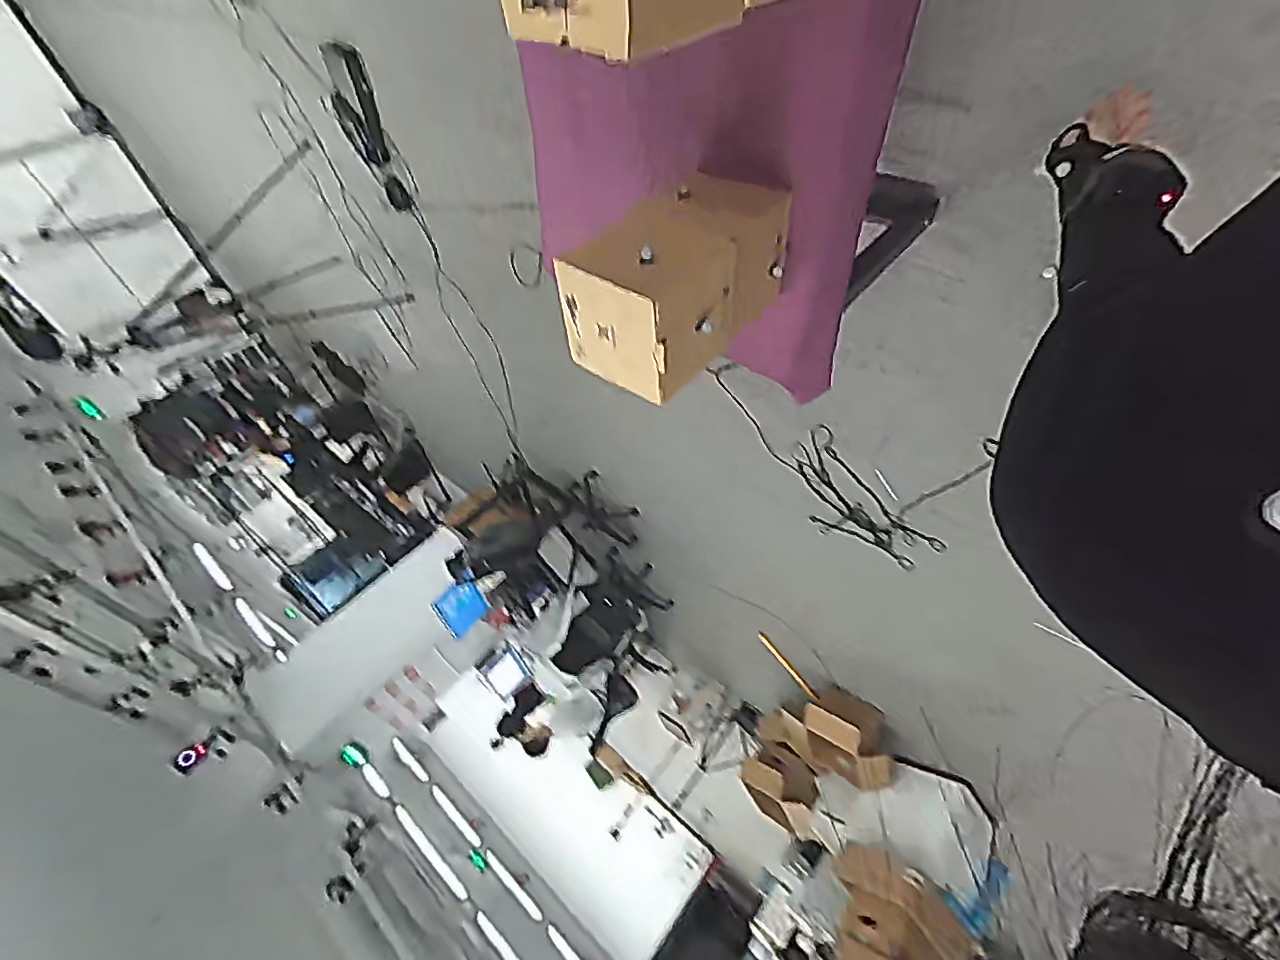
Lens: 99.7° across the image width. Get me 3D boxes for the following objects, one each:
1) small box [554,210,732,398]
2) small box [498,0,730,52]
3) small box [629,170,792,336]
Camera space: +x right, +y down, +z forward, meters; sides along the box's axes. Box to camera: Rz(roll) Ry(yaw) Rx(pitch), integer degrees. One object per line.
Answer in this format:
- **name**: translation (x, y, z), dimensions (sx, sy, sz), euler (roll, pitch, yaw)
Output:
- **small box**: translation (0.012, -0.250, 0.752), dimensions (0.179, 0.176, 0.168), euler (30, 148, 26)
- **small box**: translation (-0.023, -0.504, 0.462), dimensions (0.168, 0.176, 0.179), euler (33, 149, 26)
- **small box**: translation (0.107, -0.356, 0.834), dimensions (0.179, 0.176, 0.168), euler (29, 148, 28)
